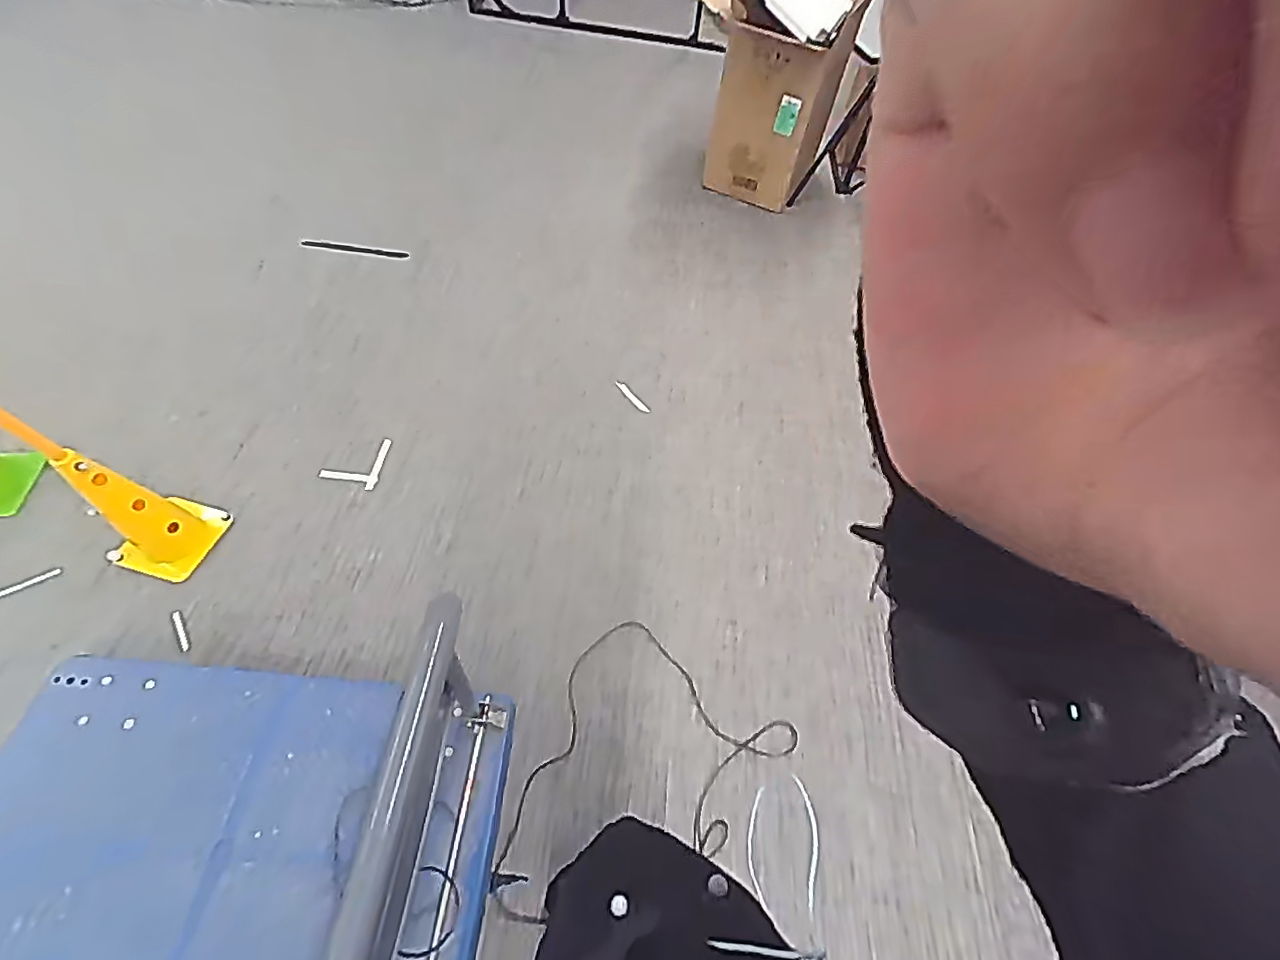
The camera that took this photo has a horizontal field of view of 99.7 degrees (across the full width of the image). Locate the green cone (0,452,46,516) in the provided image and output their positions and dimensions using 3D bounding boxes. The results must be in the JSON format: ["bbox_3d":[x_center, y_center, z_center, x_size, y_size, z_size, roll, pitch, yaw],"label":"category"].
[{"bbox_3d":[-1.657,-0.084,1.246,0.202,0.368,0.200,-3,57,-10],"label":"green cone"}]
